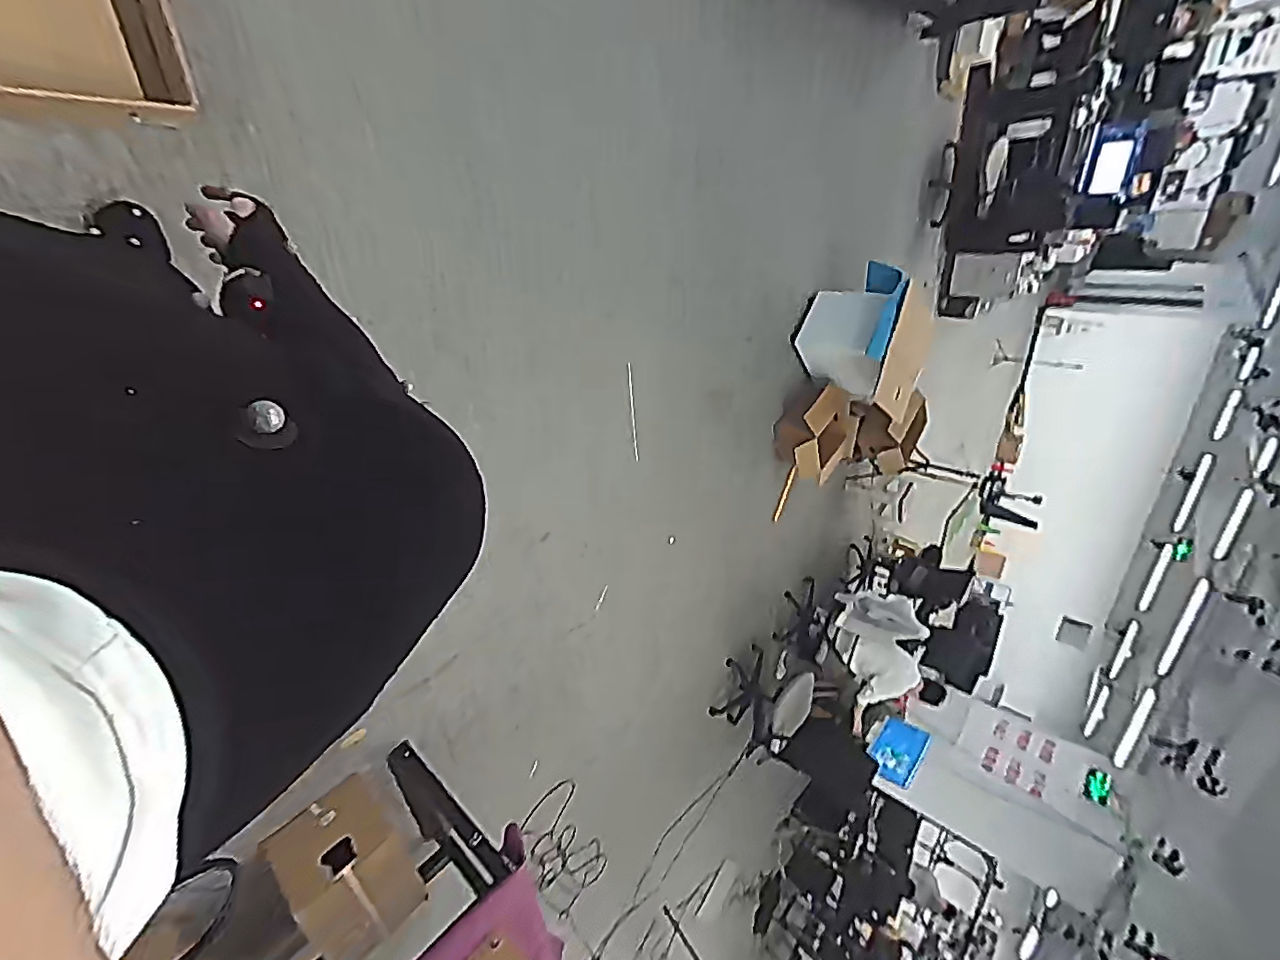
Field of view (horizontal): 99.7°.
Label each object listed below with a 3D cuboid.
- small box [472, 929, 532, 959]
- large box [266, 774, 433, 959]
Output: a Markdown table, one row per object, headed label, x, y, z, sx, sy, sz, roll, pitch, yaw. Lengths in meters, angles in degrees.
| label | x | y | z | sx | sy | sz | roll | pitch | yaw |
| --- | --- | --- | --- | --- | --- | --- | --- | --- | --- |
| small box | -0.374 | 1.384 | 1.471 | 0.168 | 0.176 | 0.179 | -30 | 128 | -38 |
| large box | -0.960 | 1.295 | 1.804 | 0.320 | 0.320 | 0.408 | -31 | 128 | -38 |
